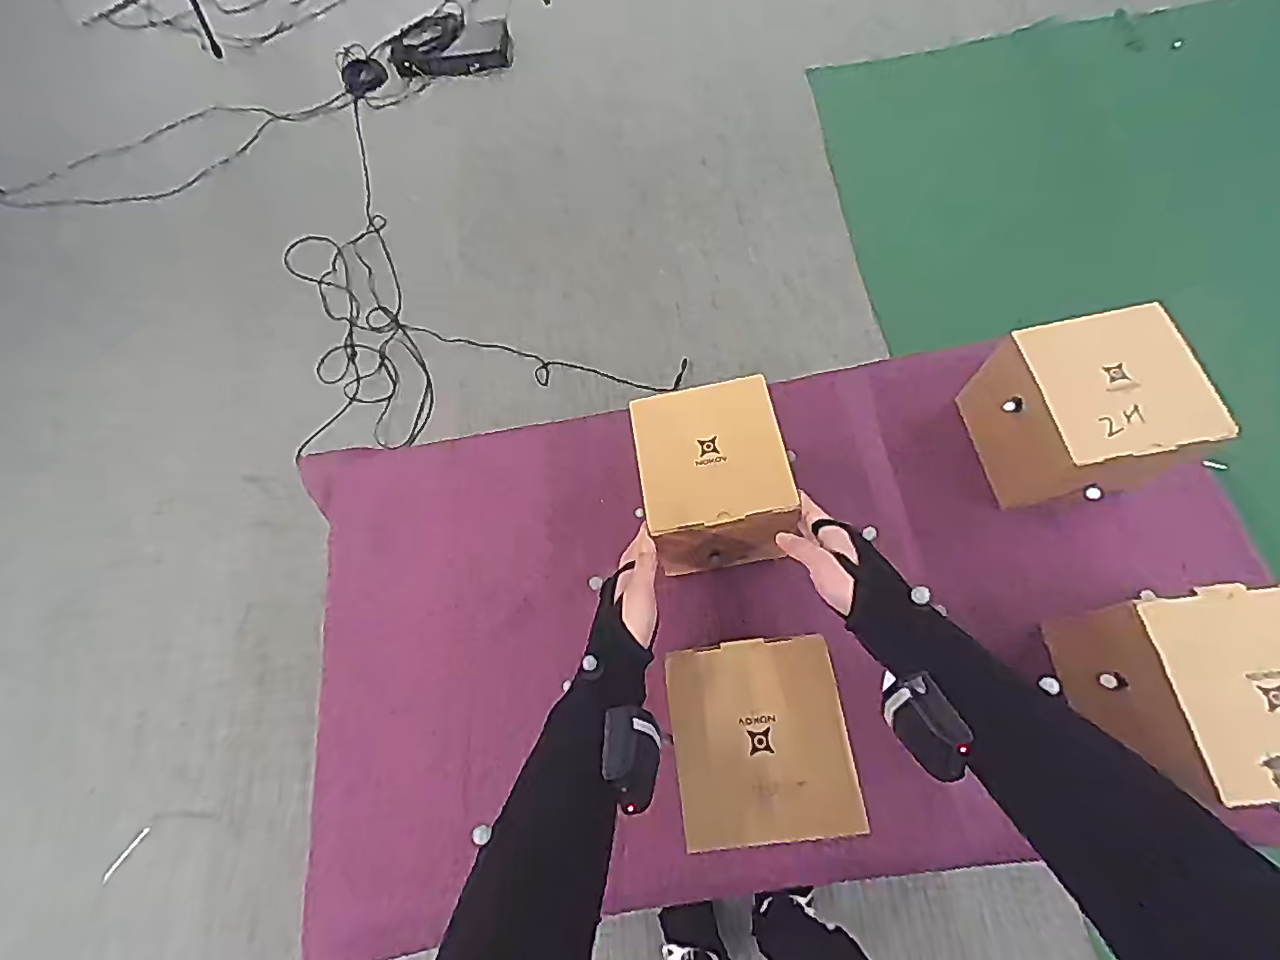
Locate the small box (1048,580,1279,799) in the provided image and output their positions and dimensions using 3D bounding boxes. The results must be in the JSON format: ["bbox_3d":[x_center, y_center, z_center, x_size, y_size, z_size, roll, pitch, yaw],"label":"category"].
[{"bbox_3d":[0.573,0.213,0.556,0.168,0.176,0.179,-8,67,5],"label":"small box"}]

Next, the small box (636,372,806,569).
[{"bbox_3d":[0.094,-0.004,0.677,0.168,0.176,0.179,-11,65,4],"label":"small box"}]

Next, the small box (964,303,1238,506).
[{"bbox_3d":[0.539,-0.084,0.670,0.168,0.176,0.179,-11,69,5],"label":"small box"}]
